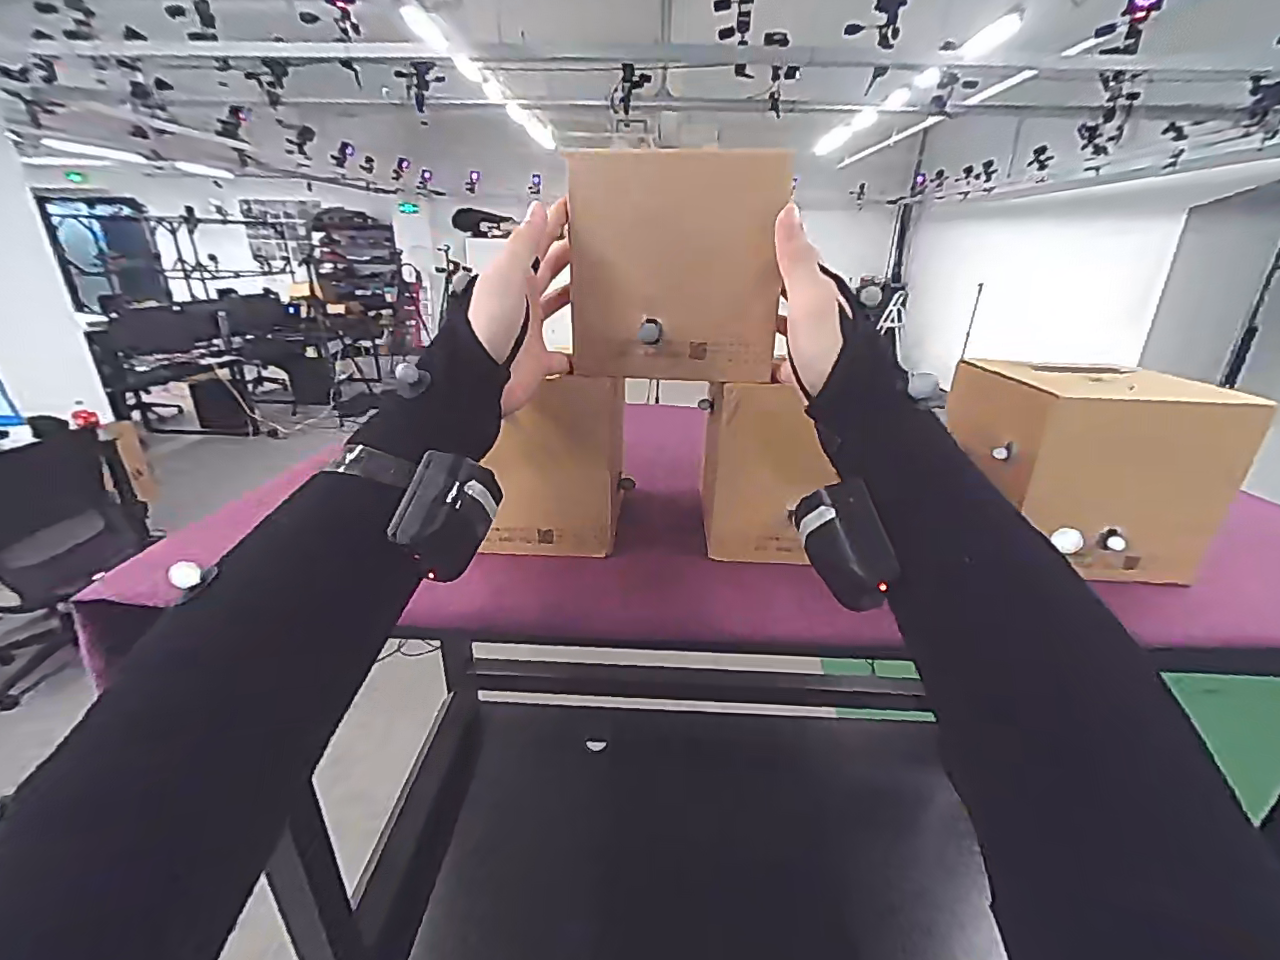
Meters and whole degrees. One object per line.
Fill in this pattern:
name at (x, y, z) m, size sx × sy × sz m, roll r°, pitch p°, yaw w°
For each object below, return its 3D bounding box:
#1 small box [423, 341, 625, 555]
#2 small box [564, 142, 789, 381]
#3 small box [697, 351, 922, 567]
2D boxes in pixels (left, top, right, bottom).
small box at (-0.103, -0.041, 0.550) m, size 0.168 × 0.176 × 0.179 m, roll 2°, pitch 22°, yaw -1°
small box at (0.030, -0.192, 0.491) m, size 0.168 × 0.176 × 0.179 m, roll 3°, pitch 23°, yaw 5°
small box at (0.147, -0.032, 0.542) m, size 0.168 × 0.176 × 0.179 m, roll 2°, pitch 22°, yaw 2°
